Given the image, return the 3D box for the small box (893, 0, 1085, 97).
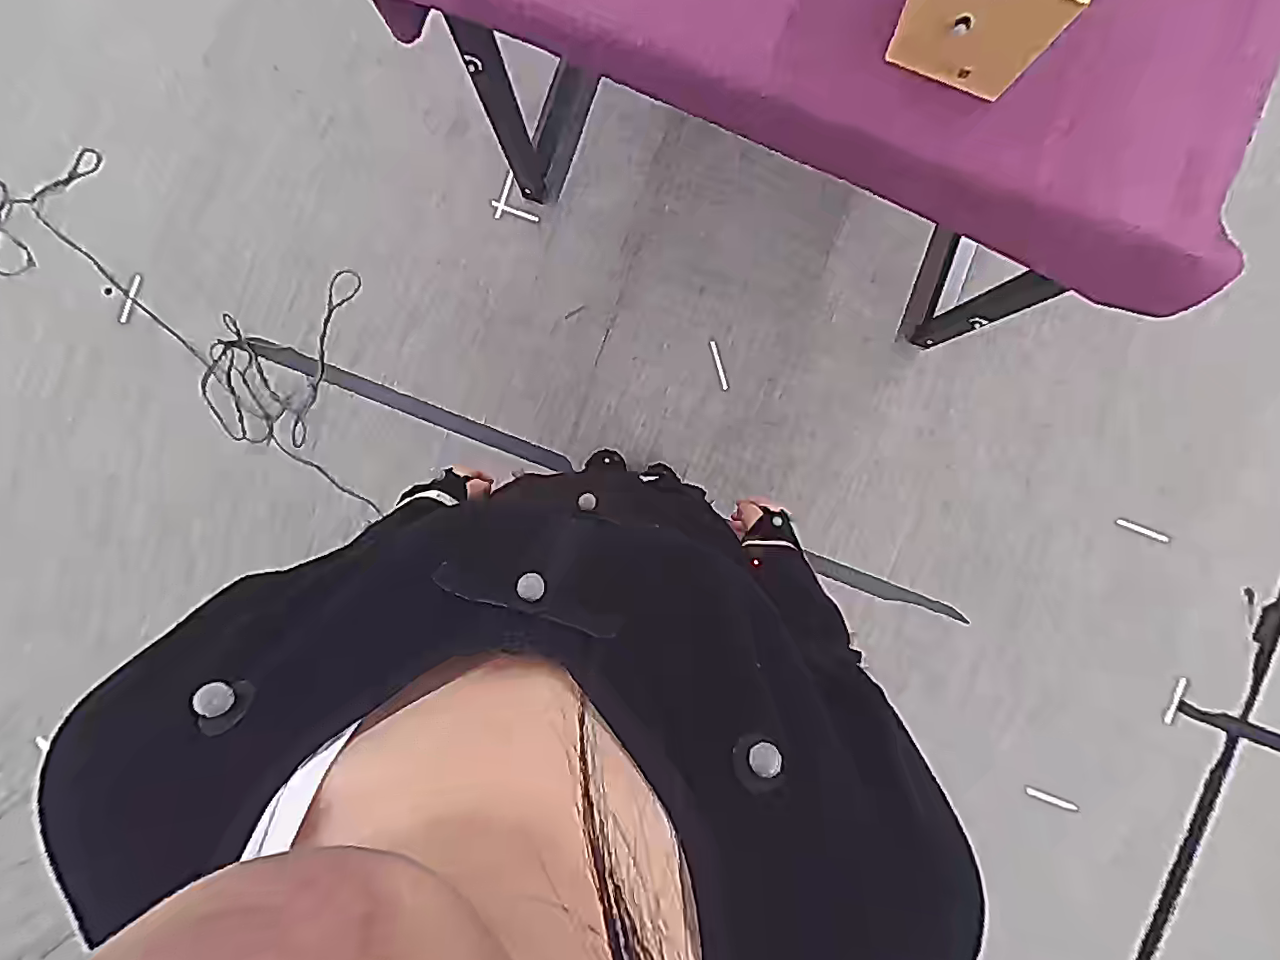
[{"bbox_3d":[0.448,-0.634,0.676,0.168,0.176,0.179,21,91,0],"label":"small box"}]
